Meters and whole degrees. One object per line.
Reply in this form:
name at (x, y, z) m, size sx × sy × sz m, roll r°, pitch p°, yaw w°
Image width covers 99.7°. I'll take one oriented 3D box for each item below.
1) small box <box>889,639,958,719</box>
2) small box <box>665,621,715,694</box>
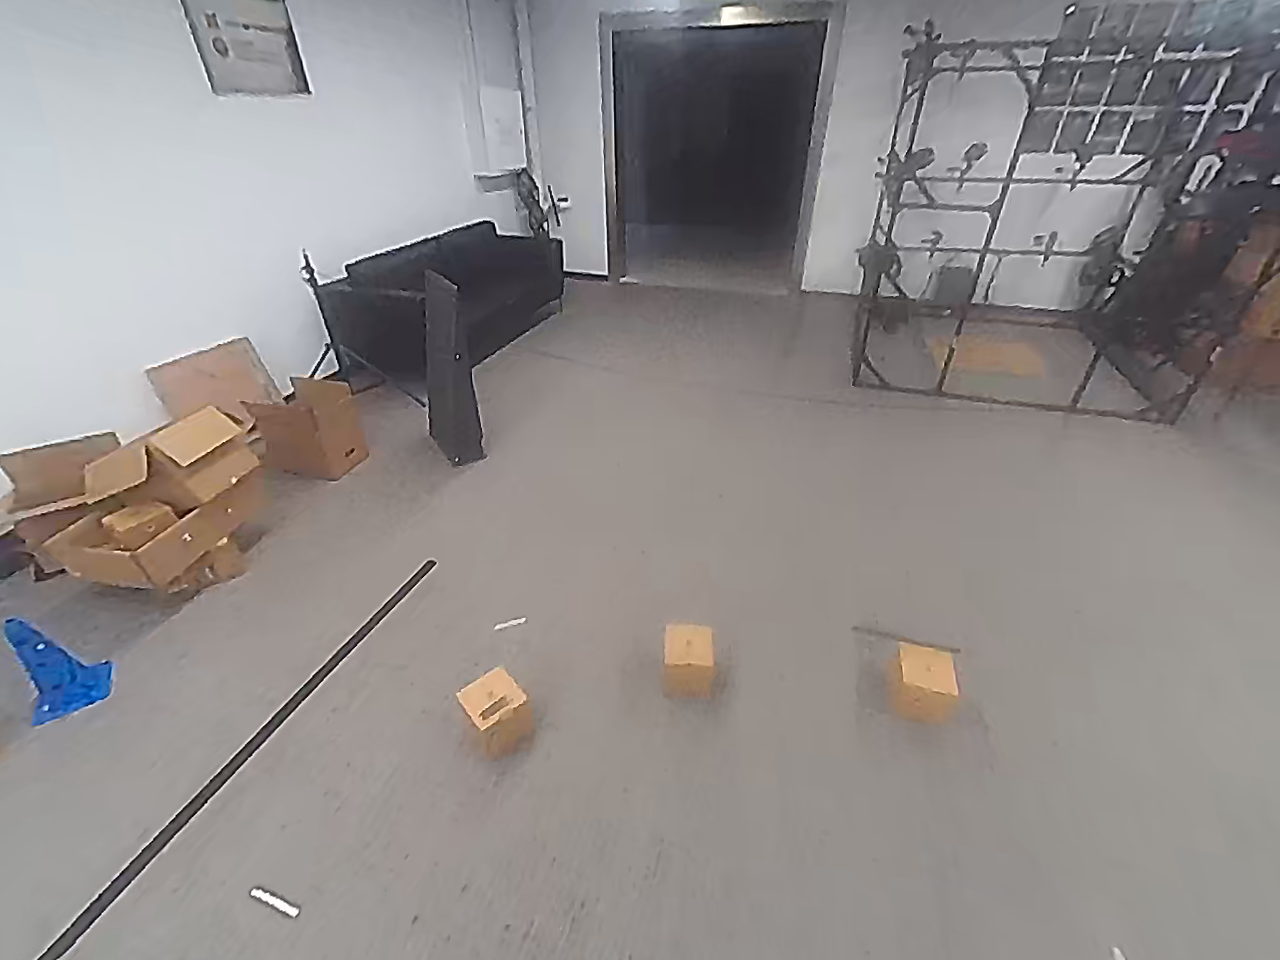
small box at (0.953, 0.675, 1.830) m, size 0.168 × 0.176 × 0.179 m, roll 9°, pitch 34°, yaw 14°
small box at (0.174, 0.627, 1.913) m, size 0.168 × 0.176 × 0.179 m, roll 2°, pitch 34°, yaw 4°
